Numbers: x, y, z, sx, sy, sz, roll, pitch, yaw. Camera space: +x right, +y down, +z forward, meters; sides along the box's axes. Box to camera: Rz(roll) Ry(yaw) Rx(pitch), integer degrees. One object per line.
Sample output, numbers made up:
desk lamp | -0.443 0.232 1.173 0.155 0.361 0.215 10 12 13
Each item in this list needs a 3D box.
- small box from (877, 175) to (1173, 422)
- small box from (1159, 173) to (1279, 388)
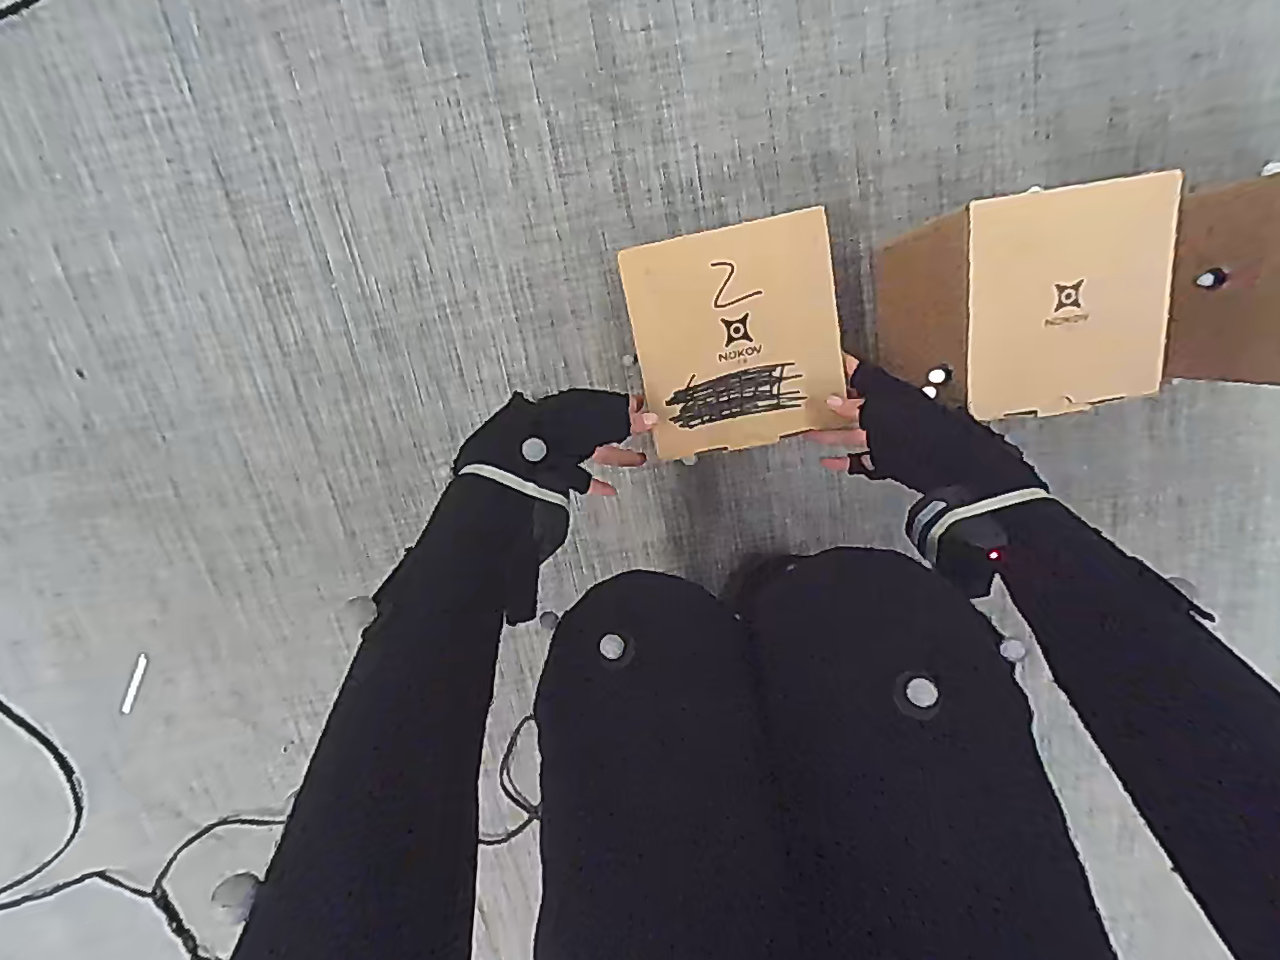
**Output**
small box | 0.343 -0.161 0.517 0.168 0.176 0.179 -9 104 1
small box | 0.610 -0.192 0.513 0.168 0.176 0.179 -9 103 1
